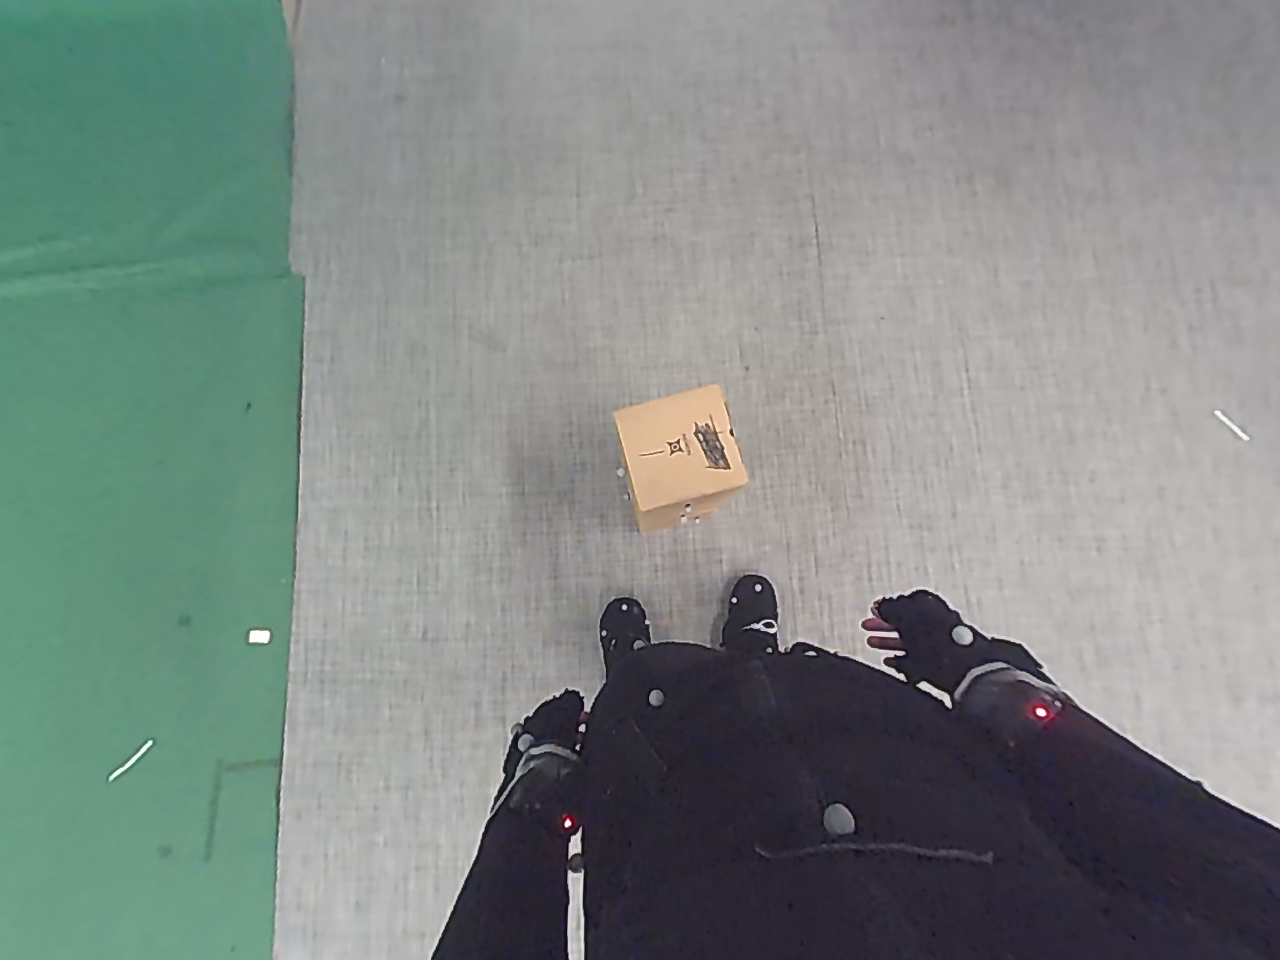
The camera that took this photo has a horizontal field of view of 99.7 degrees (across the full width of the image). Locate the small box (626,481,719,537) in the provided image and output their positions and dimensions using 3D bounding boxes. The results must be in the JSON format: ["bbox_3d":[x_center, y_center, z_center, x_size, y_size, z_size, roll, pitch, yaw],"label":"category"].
[{"bbox_3d":[0.067,0.029,1.237,0.179,0.176,0.168,-16,80,0],"label":"small box"}]

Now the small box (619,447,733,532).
[{"bbox_3d":[0.066,0.000,1.078,0.179,0.176,0.168,-18,82,-1],"label":"small box"}]

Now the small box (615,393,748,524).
[{"bbox_3d":[0.064,-0.029,0.913,0.179,0.176,0.168,-15,80,-1],"label":"small box"}]
